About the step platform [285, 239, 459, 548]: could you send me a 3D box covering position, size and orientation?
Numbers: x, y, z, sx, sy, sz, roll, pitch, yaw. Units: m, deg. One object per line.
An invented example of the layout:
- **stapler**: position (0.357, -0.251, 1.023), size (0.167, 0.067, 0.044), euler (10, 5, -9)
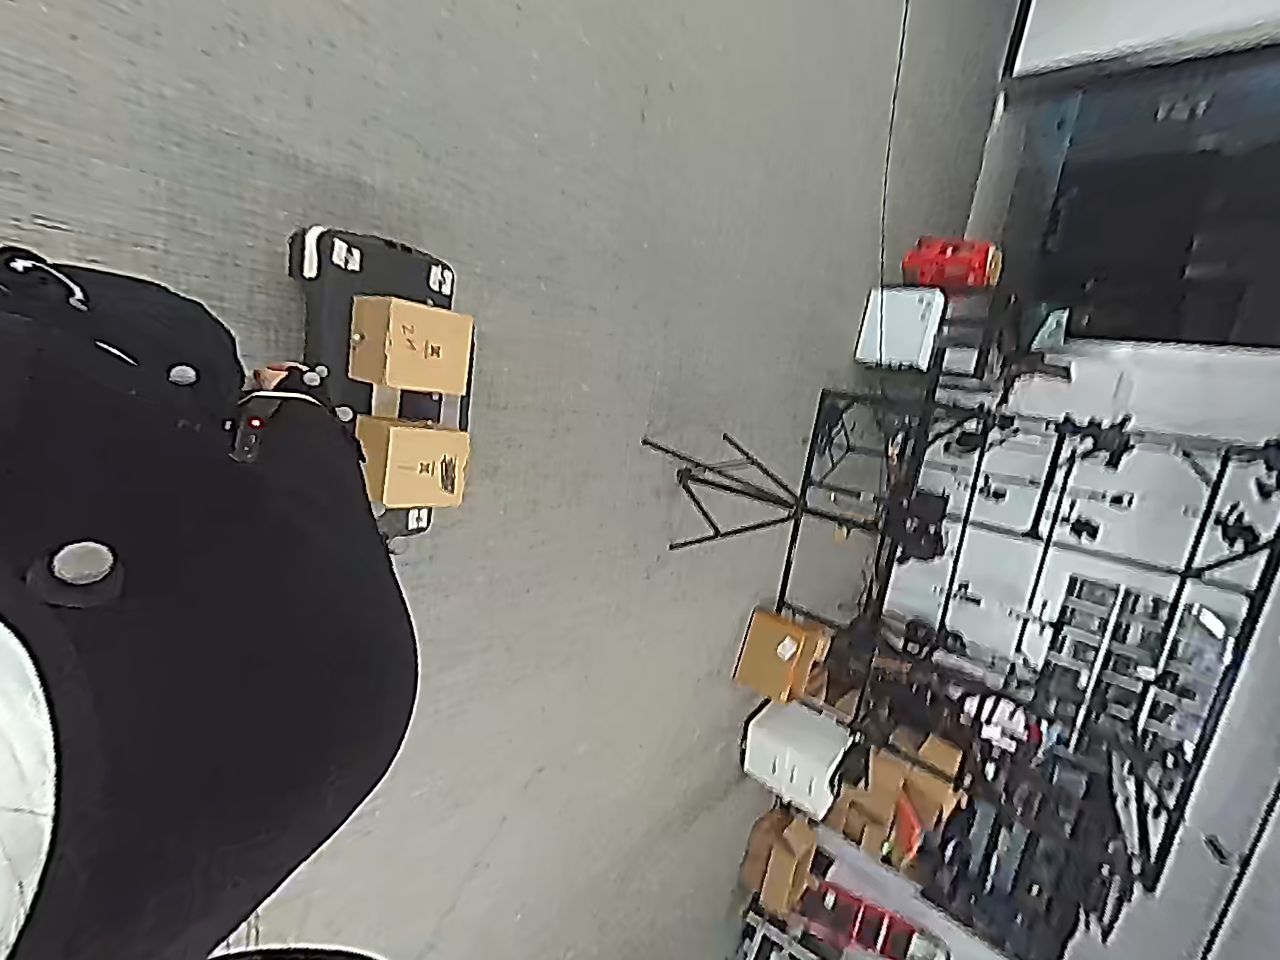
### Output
- **step platform**: position (-0.620, -0.184, 1.262), size (0.286, 0.204, 0.684), euler (-2, 104, -50)

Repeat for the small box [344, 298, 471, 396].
- **small box**: position (-0.480, -0.275, 1.117), size (0.179, 0.176, 0.168), euler (-1, 103, -50)

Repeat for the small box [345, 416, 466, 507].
- **small box**: position (-0.509, -0.041, 1.170), size (0.179, 0.176, 0.168), euler (2, 101, -49)
